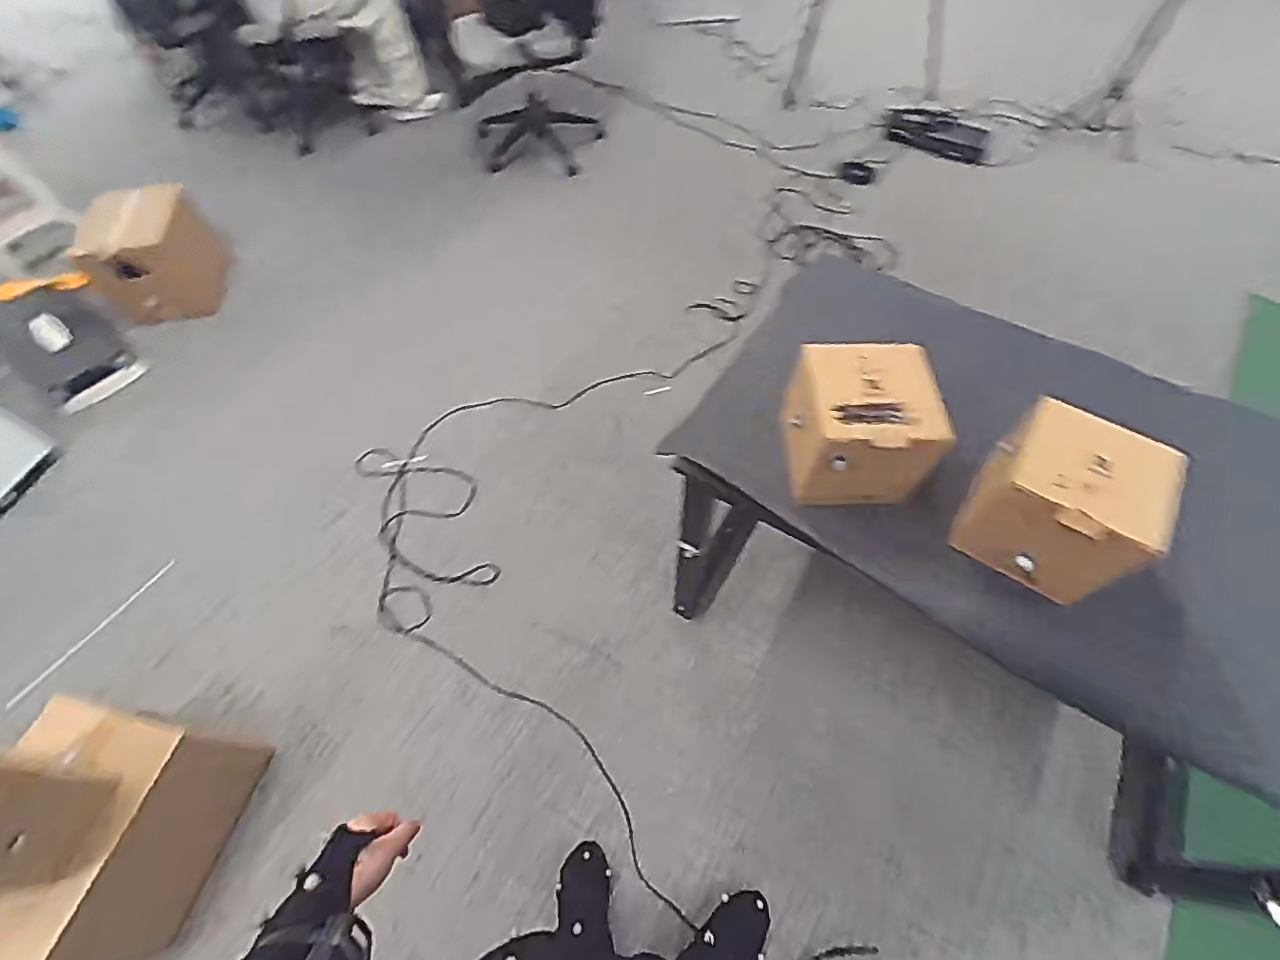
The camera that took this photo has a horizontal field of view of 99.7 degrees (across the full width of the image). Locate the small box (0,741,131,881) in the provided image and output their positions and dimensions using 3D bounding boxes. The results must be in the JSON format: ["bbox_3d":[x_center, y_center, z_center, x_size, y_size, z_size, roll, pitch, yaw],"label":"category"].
[{"bbox_3d":[-1.064,0.573,0.938,0.168,0.176,0.179,13,59,8],"label":"small box"}]

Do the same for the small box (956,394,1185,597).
[{"bbox_3d":[0.566,0.024,0.731,0.168,0.176,0.179,31,63,20],"label":"small box"}]

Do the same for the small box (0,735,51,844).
[{"bbox_3d":[-1.063,0.477,0.806,0.168,0.176,0.179,13,60,8],"label":"small box"}]
